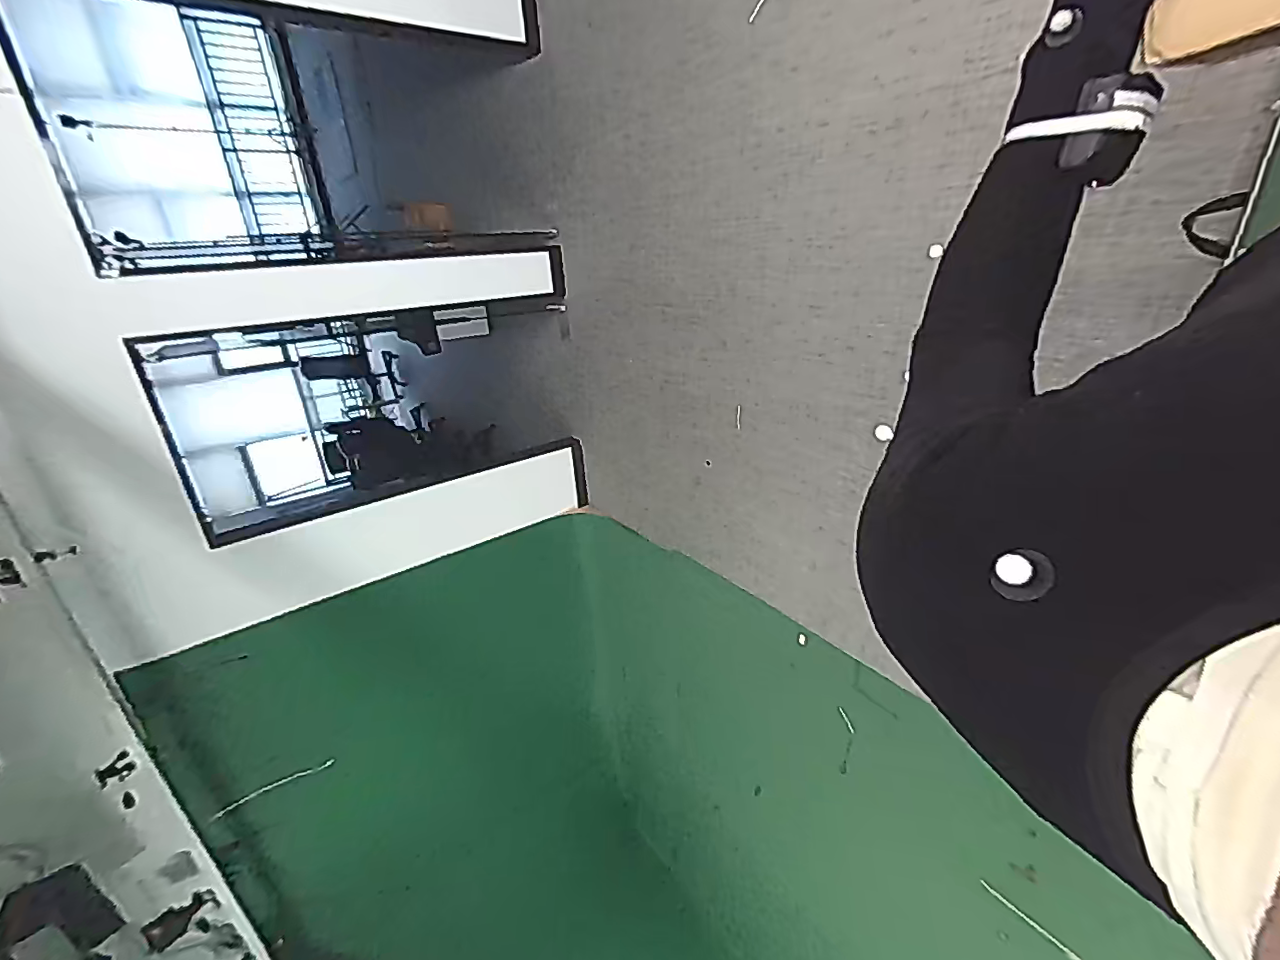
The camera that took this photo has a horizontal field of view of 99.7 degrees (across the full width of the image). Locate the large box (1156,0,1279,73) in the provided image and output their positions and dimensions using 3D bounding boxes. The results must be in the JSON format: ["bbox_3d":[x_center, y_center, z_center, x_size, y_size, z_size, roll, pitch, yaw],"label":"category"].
[{"bbox_3d":[0.580,-0.489,0.291,0.408,0.320,0.320,9,122,50],"label":"large box"}]
